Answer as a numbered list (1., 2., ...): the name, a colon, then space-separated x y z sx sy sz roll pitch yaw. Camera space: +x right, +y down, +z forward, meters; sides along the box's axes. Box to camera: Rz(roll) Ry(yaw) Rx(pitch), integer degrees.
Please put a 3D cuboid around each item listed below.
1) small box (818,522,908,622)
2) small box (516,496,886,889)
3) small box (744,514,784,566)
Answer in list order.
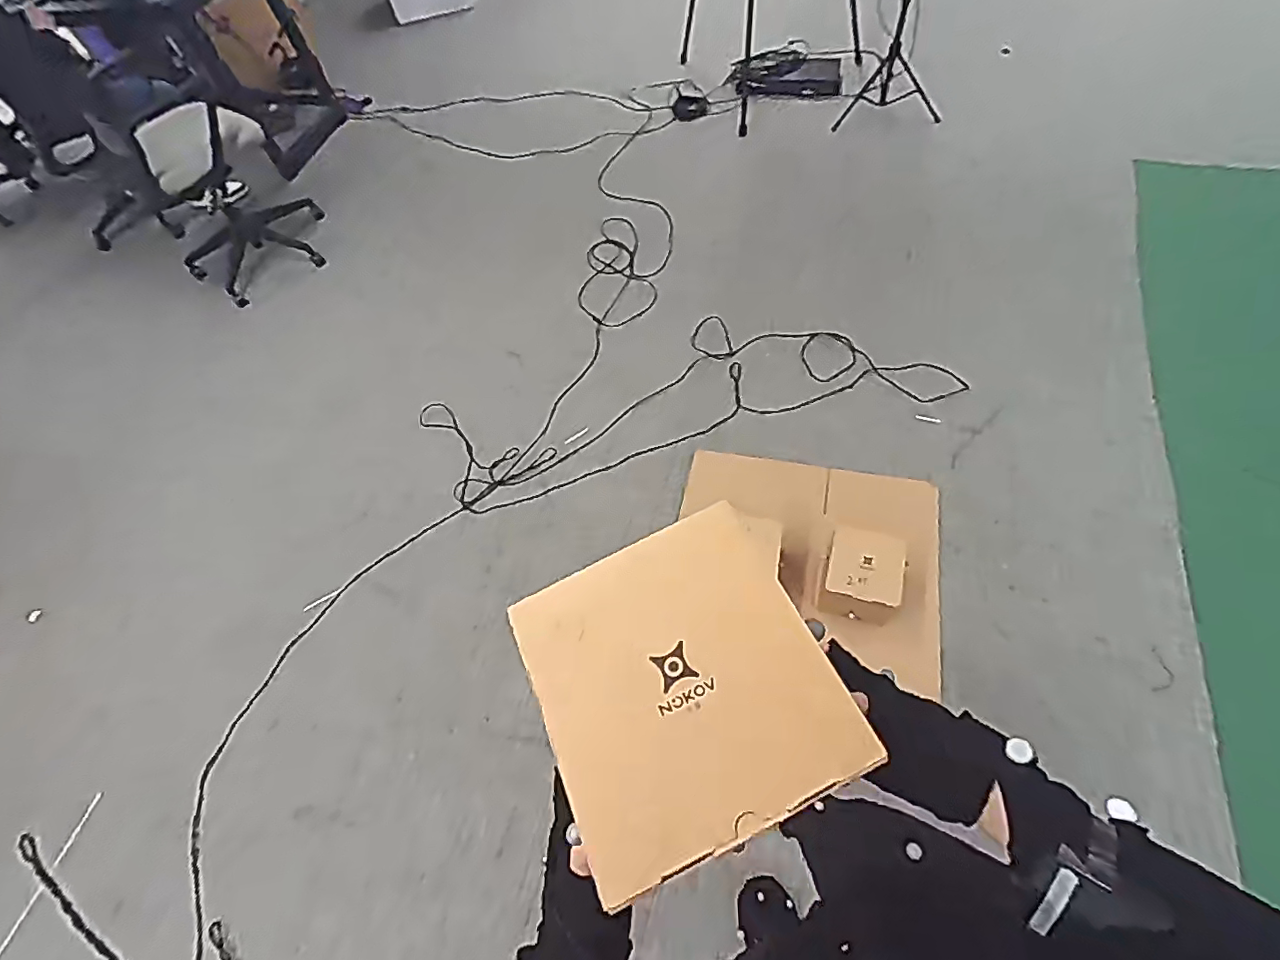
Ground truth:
1. small box: 0.548 0.232 1.344 0.168 0.176 0.179 12 64 16
2. small box: 0.035 0.147 0.391 0.168 0.176 0.179 -26 62 -5
3. small box: 0.275 0.202 1.399 0.168 0.176 0.179 7 62 13
